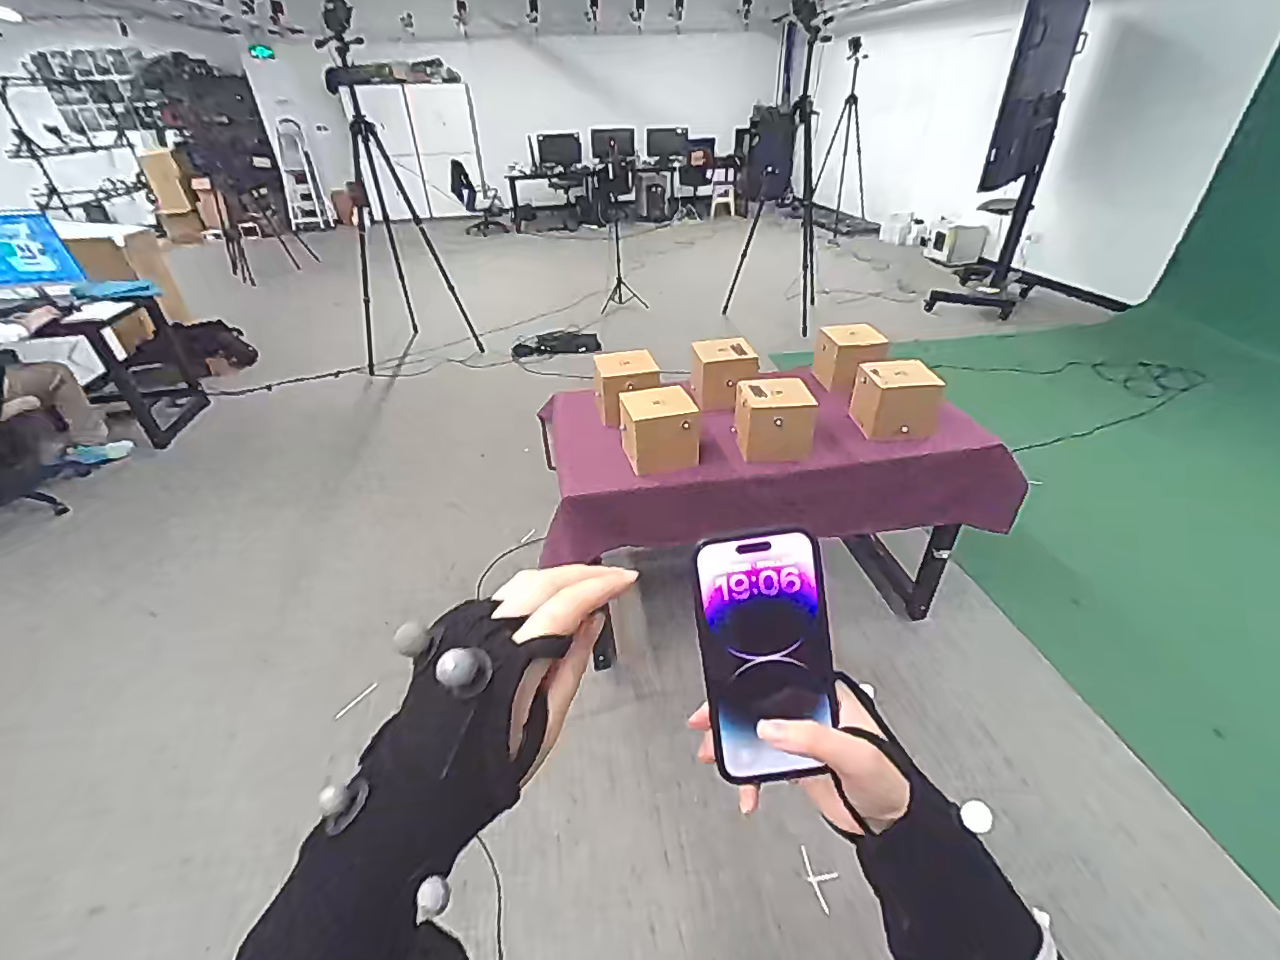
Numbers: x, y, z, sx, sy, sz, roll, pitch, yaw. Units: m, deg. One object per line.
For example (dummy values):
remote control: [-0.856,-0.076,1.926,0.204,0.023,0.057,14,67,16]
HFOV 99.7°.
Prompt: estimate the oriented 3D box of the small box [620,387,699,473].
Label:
small box: [0.051,-0.133,1.454,0.179,0.176,0.168,-9,35,-12]

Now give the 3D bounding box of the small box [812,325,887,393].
small box: [0.688,-0.403,1.801,0.168,0.176,0.179,-5,36,-3]

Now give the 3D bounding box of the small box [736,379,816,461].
small box: [0.362,-0.162,1.476,0.179,0.176,0.168,-3,35,-2]

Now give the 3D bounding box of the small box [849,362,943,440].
small box: [0.721,-0.225,1.545,0.179,0.176,0.168,-3,34,-1]
